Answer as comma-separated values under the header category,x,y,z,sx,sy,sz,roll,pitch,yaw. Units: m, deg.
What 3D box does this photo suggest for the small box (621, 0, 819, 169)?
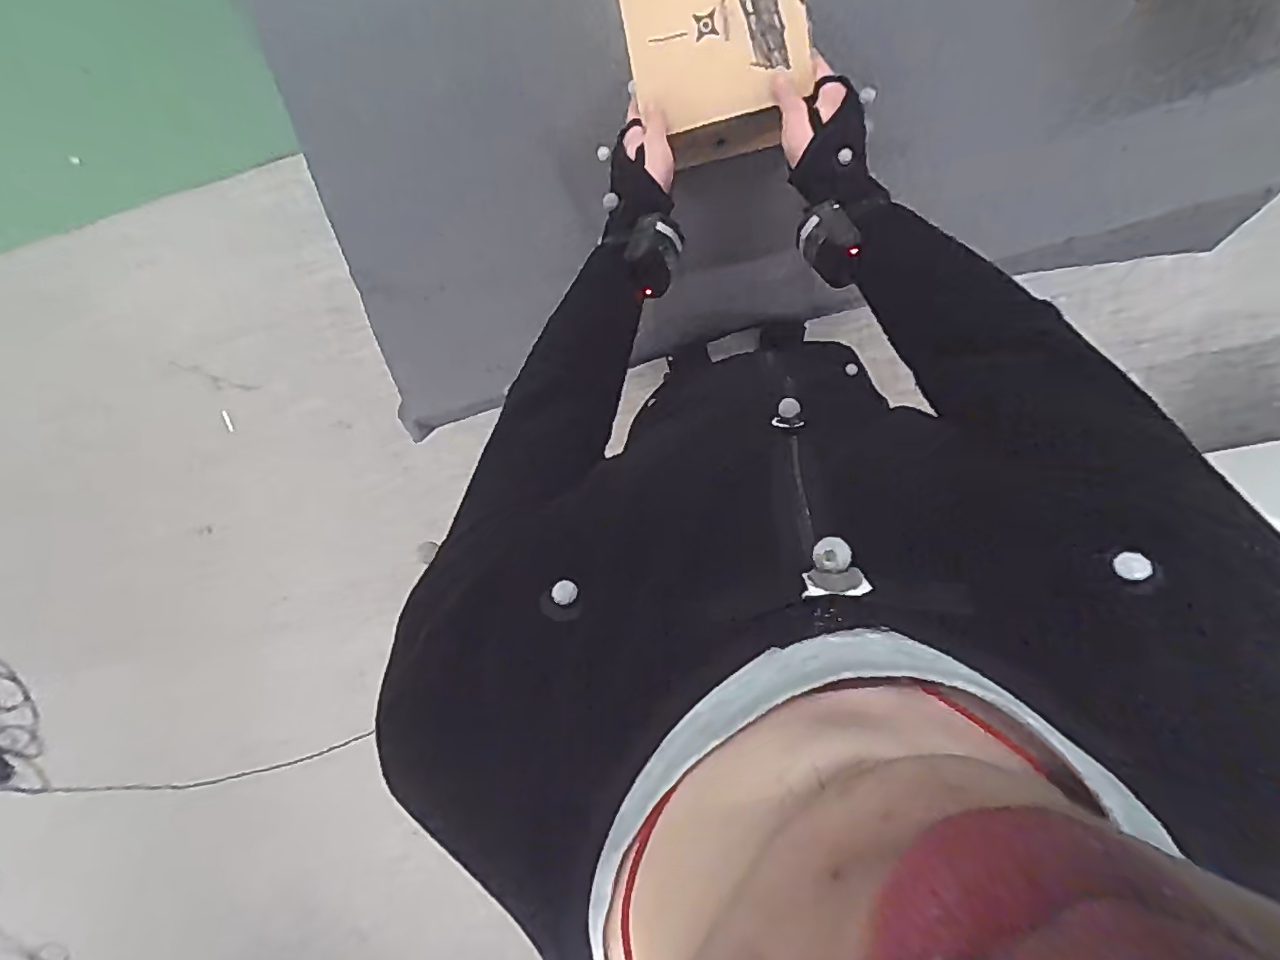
category,x,y,z,sx,sy,sz,roll,pitch,yaw
small box,0.082,-0.457,0.581,0.179,0.176,0.168,-8,108,10
